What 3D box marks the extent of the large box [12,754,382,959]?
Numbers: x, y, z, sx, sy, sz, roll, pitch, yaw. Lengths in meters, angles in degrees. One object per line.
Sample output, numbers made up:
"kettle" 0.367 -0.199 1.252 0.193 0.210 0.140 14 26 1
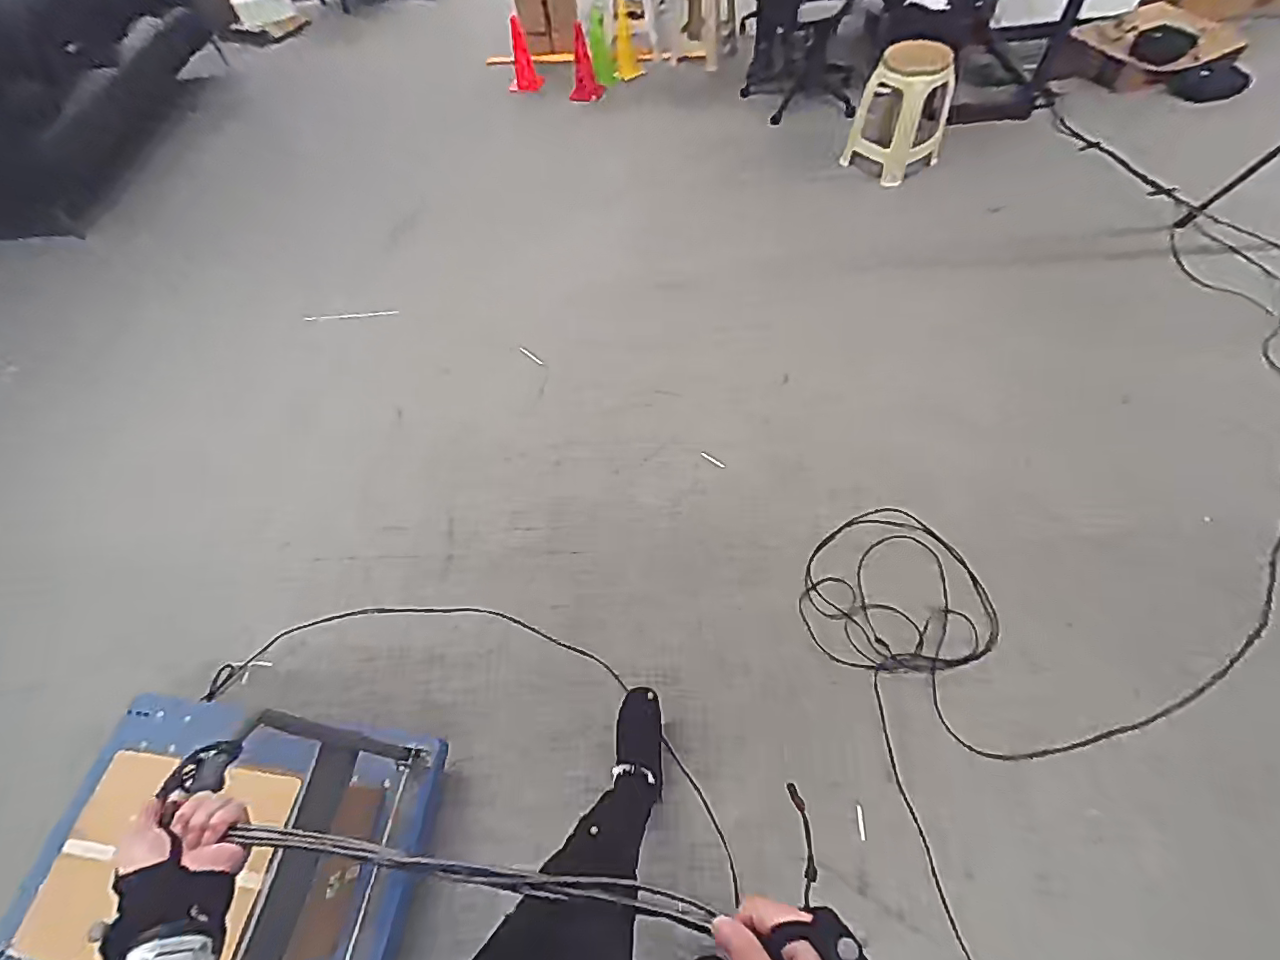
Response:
"large box" -0.810 0.746 1.066 0.408 0.320 0.320 3 58 9
